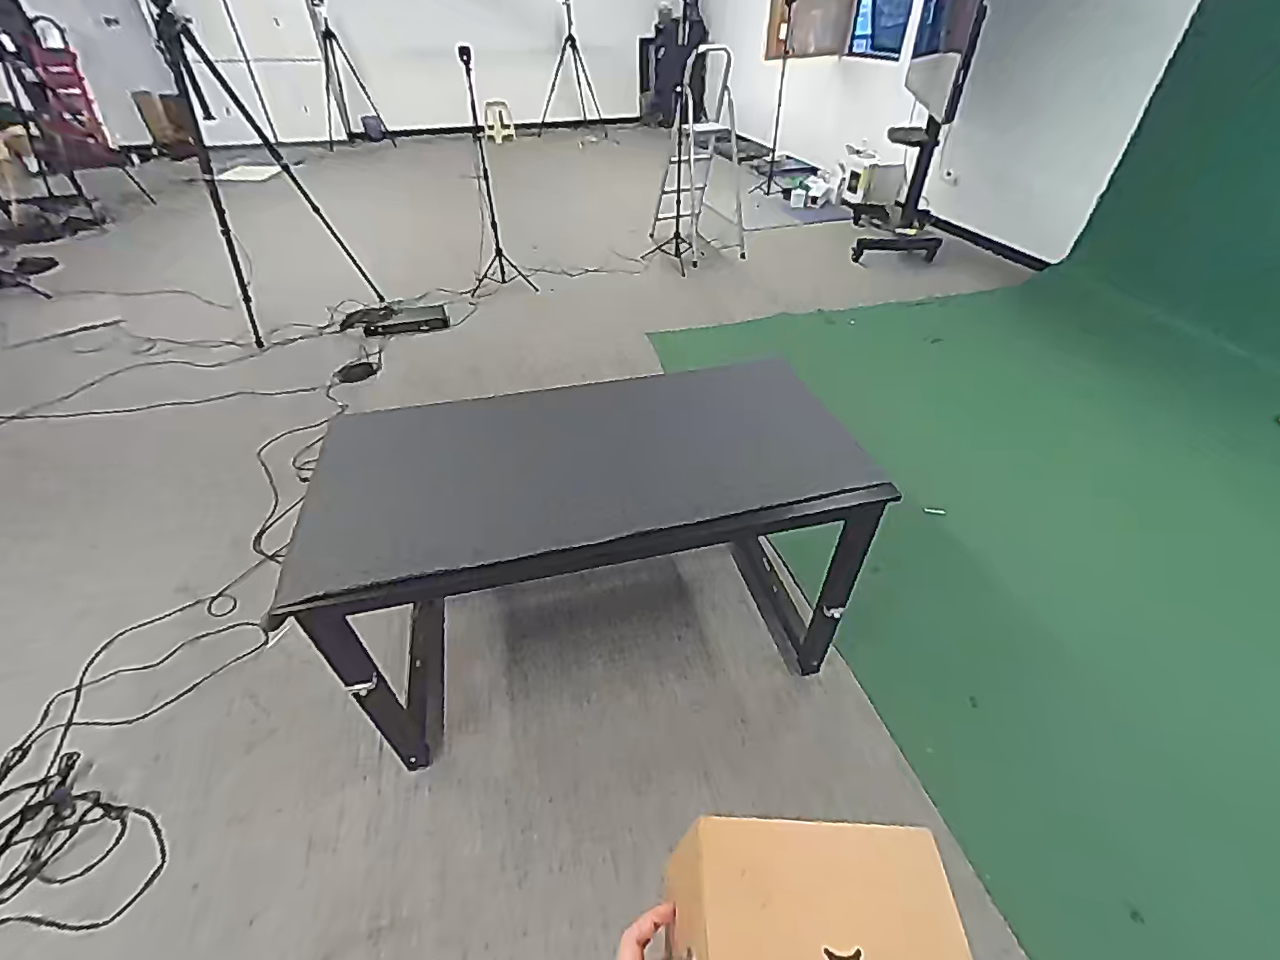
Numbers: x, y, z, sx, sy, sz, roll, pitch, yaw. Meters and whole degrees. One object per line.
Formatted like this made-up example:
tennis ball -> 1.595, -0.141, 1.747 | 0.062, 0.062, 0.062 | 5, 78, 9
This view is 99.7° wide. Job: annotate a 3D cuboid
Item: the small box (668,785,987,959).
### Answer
small box -> 0.112, 0.332, 0.363 | 0.168, 0.176, 0.179 | 5, 44, -4
